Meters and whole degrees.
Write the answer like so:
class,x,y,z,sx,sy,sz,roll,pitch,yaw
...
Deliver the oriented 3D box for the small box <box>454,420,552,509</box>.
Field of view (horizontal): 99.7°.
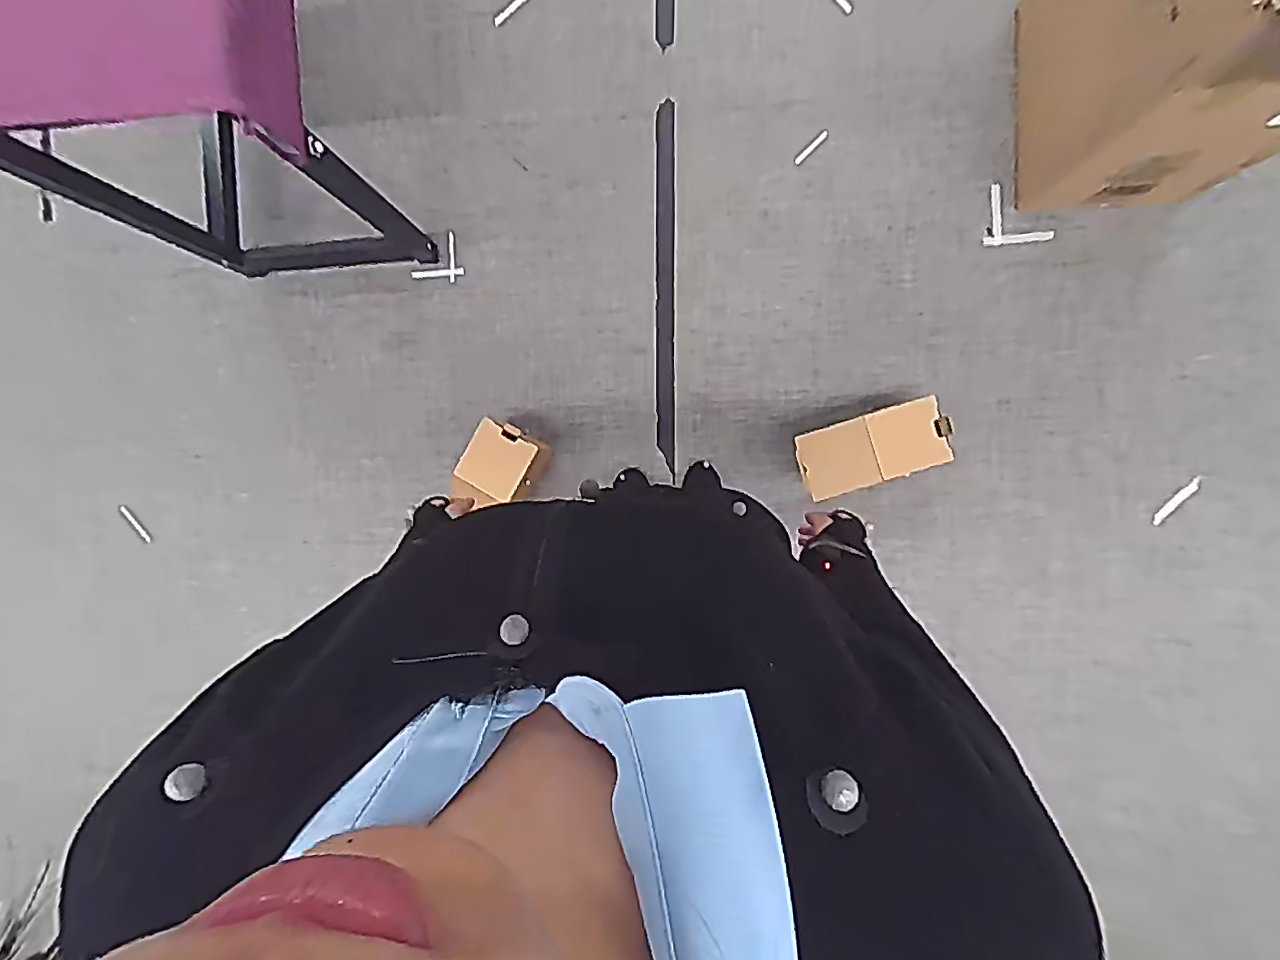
class,x,y,z,sx,sy,sz,roll,pitch,yaw
small box,-0.357,-0.041,1.449,0.168,0.176,0.179,30,93,3
